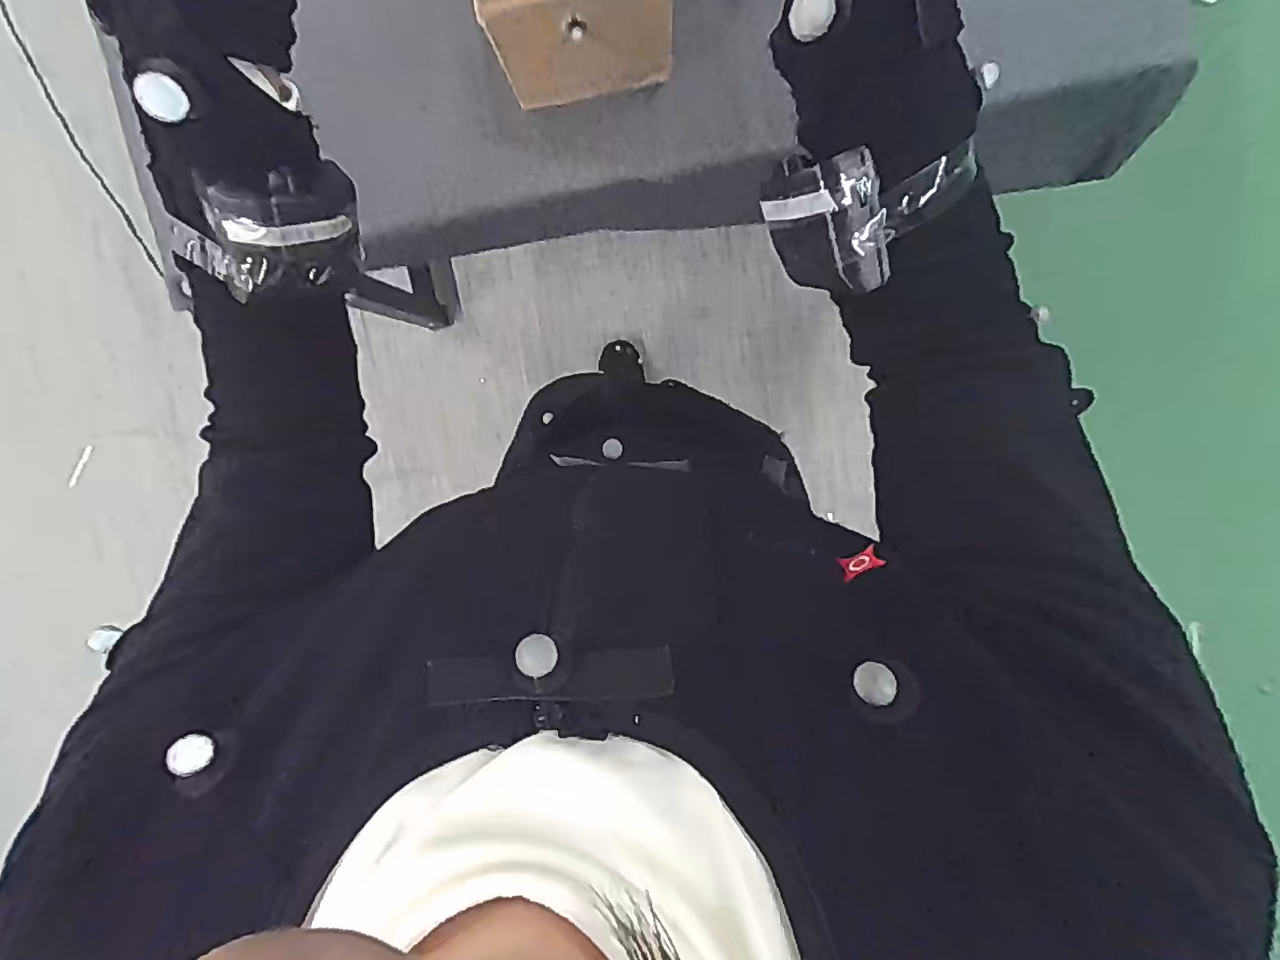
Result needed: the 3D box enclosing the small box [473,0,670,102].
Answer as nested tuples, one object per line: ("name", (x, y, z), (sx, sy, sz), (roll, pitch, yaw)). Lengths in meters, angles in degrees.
("small box", (-0.066, -0.510, 0.531), (0.179, 0.176, 0.168), (-9, 99, 3))
